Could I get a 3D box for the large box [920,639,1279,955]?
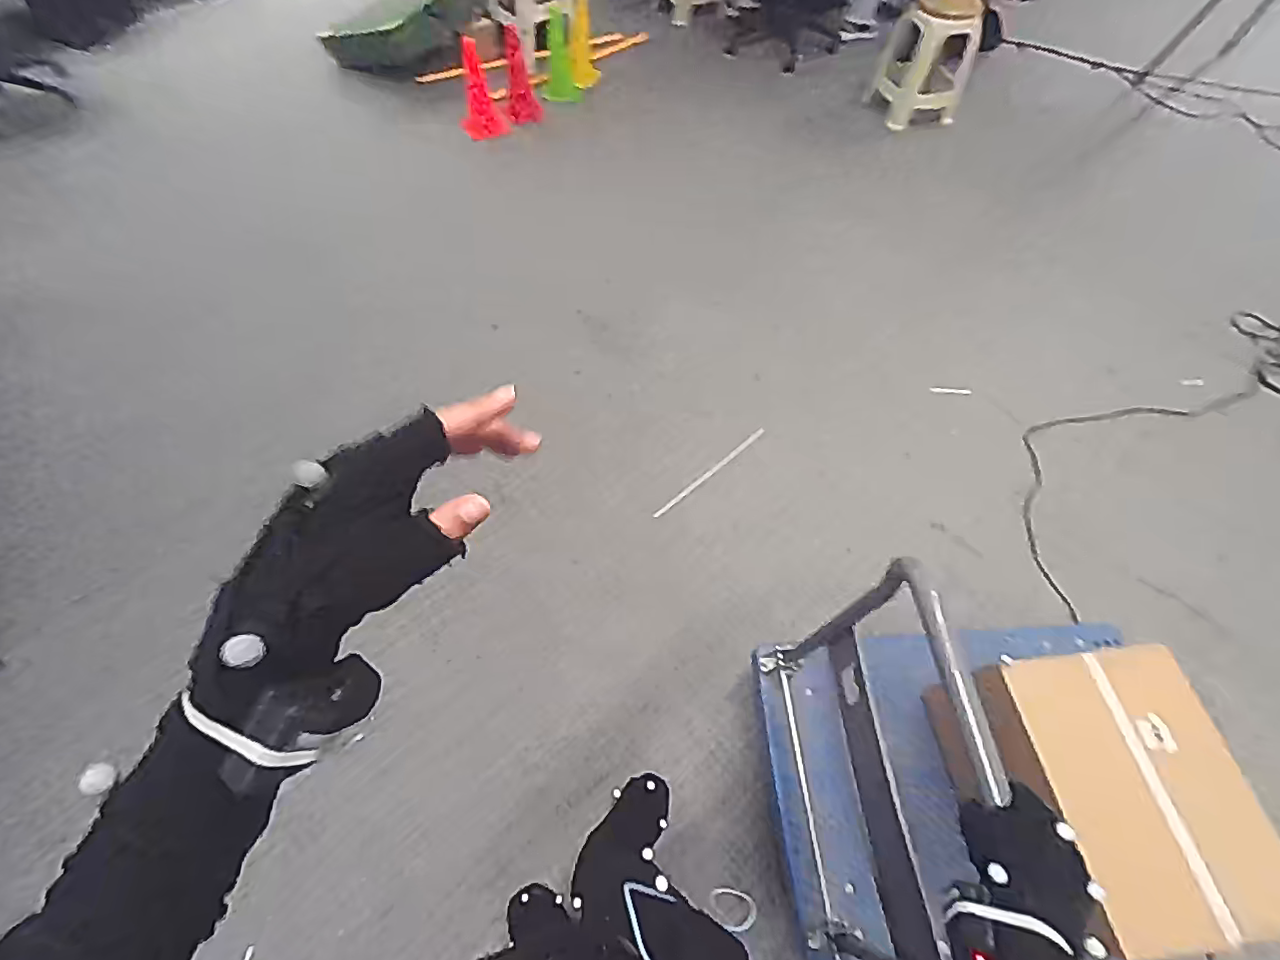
[{"bbox_3d":[0.788,0.545,0.980,0.320,0.320,0.408,-6,60,-4],"label":"large box"}]
